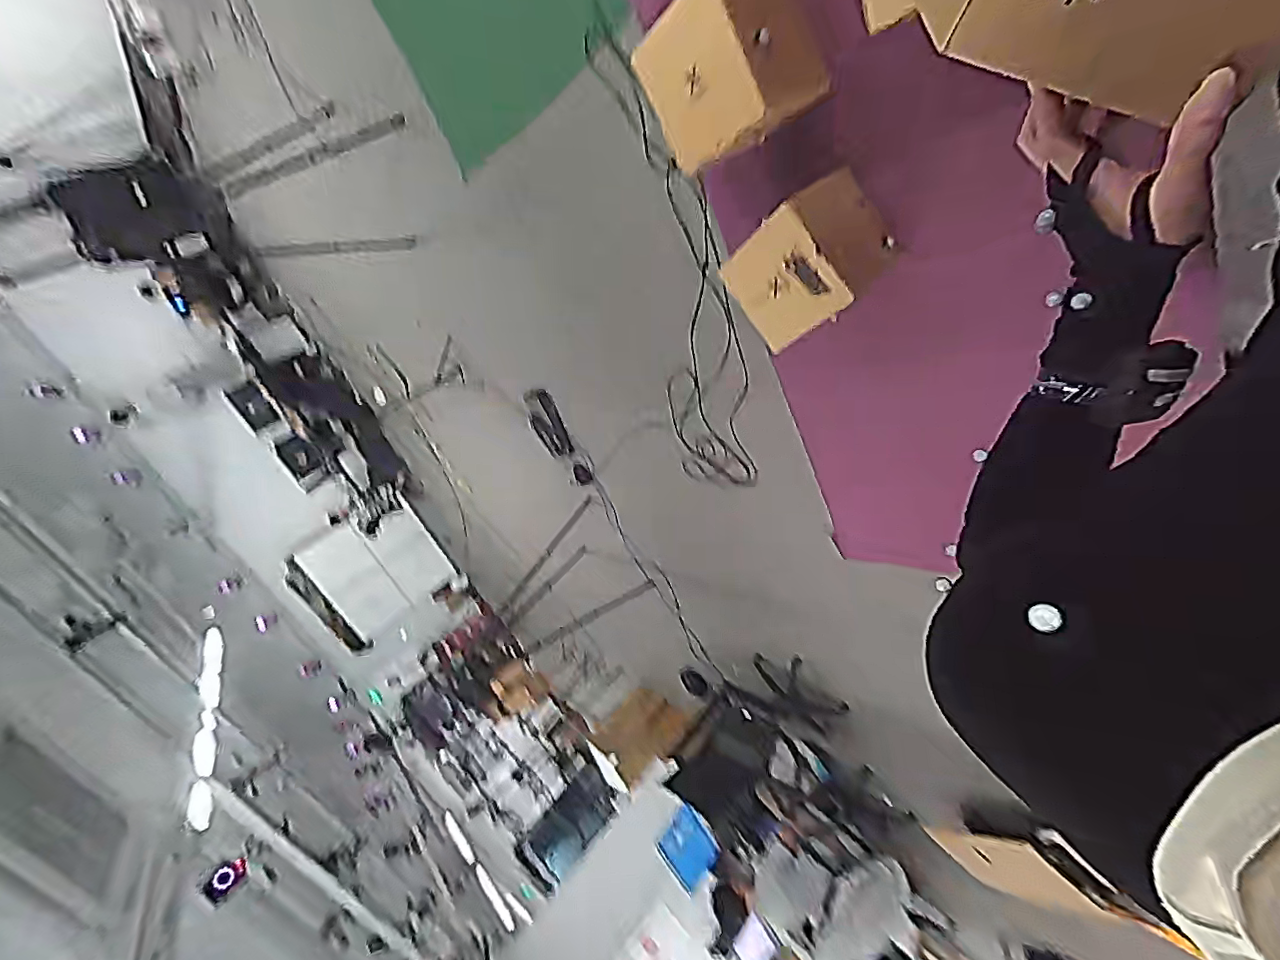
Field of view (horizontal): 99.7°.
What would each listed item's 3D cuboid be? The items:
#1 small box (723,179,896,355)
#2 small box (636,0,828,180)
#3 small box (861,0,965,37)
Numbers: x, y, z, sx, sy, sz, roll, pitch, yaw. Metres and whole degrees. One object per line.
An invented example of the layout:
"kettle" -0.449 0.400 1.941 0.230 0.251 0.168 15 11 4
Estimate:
"small box" 0.274 -0.337 0.860 0.168 0.176 0.179 52 152 -5
"small box" 0.134 -0.576 0.773 0.168 0.176 0.179 -5 122 56
"small box" 0.315 -0.573 0.511 0.168 0.176 0.179 10 134 52
